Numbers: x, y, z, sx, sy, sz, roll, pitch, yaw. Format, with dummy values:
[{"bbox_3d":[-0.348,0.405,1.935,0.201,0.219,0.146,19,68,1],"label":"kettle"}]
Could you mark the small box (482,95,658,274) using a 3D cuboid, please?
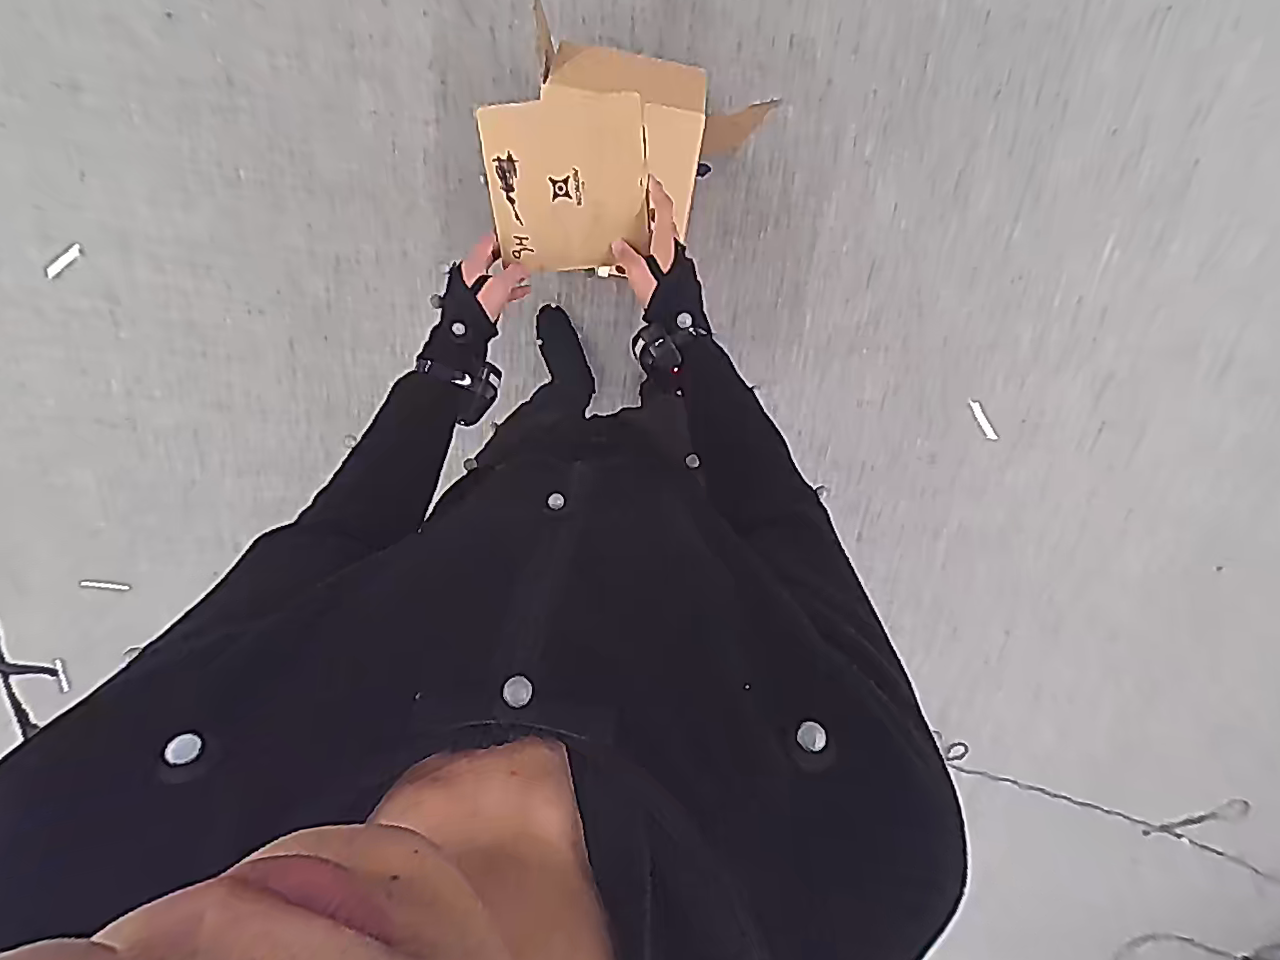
[{"bbox_3d":[-0.072,-0.349,0.655,0.179,0.176,0.168,-3,115,2],"label":"small box"}]
